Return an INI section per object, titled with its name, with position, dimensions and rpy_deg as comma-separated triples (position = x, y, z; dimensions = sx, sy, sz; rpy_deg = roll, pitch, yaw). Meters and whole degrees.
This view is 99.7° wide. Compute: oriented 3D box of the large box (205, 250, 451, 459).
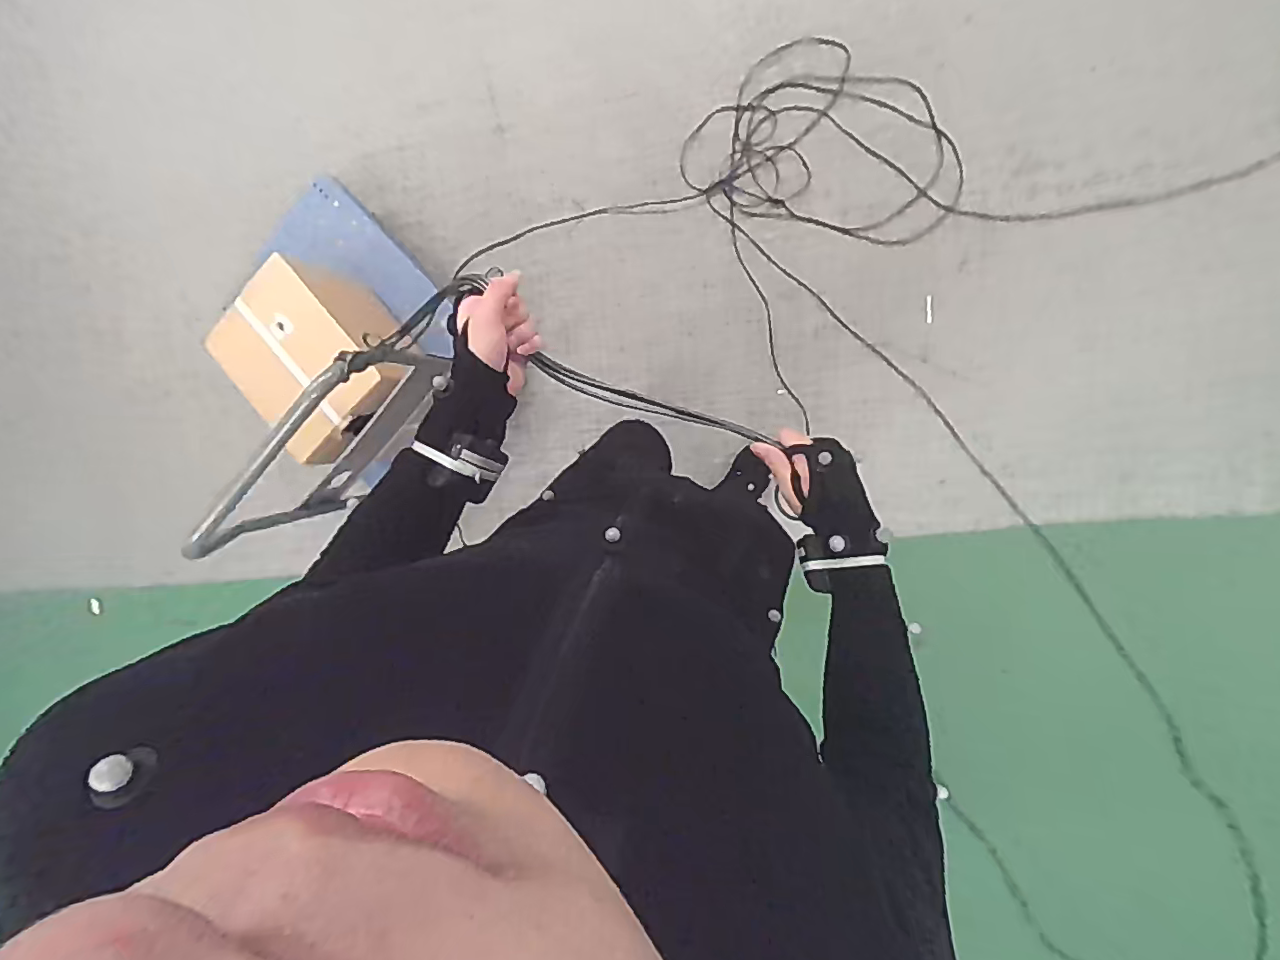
[large box]
position = -0.792, -0.305, 1.416
dimensions = 0.320, 0.320, 0.408
rpy_deg = -41, 86, 11
